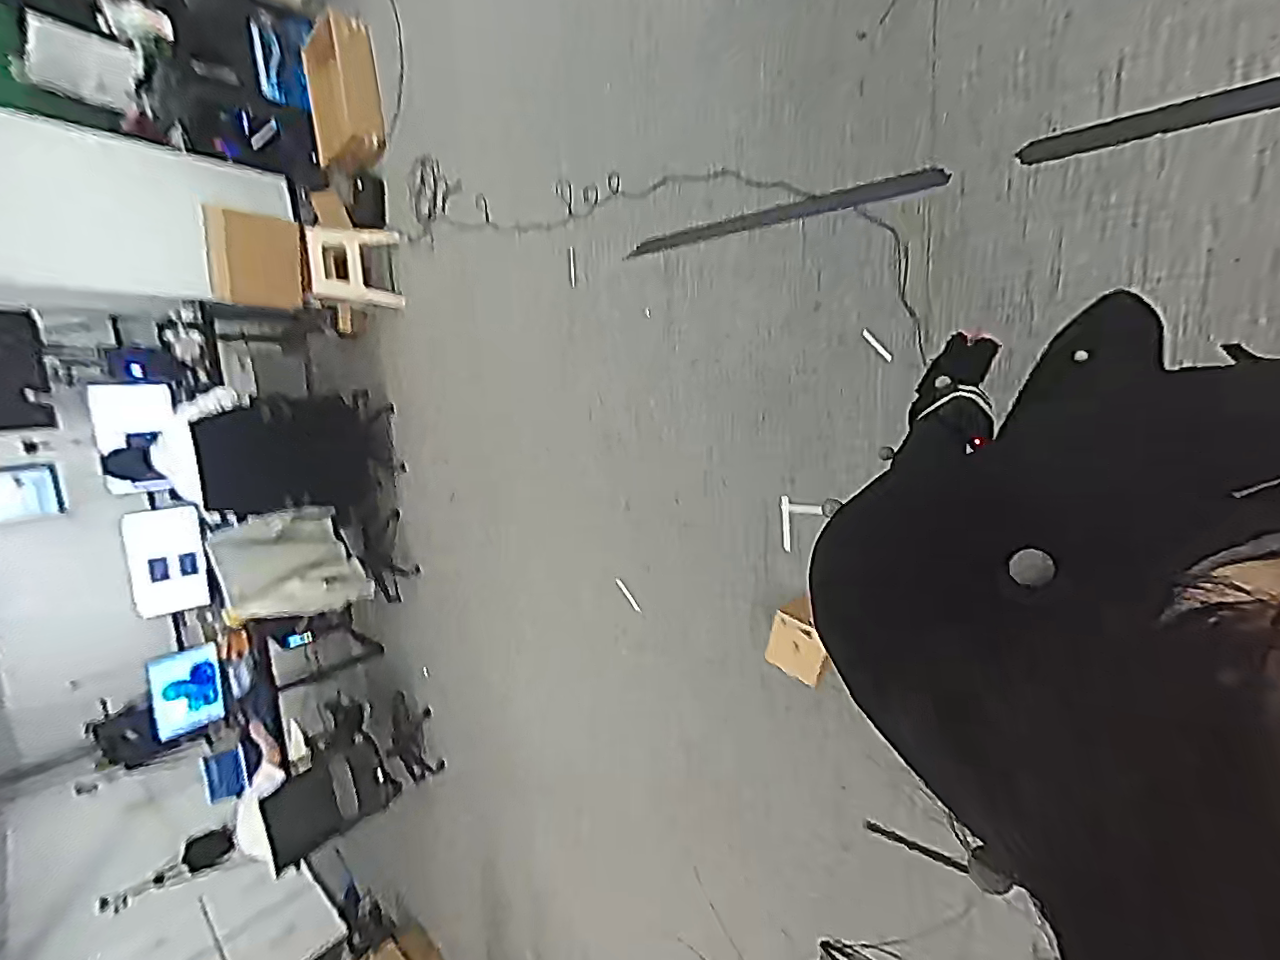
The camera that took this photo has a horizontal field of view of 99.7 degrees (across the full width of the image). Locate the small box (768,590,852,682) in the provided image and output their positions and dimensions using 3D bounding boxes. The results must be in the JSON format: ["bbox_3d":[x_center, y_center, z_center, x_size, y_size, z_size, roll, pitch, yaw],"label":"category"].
[{"bbox_3d":[0.511,0.458,1.614,0.168,0.176,0.179,24,114,36],"label":"small box"}]
